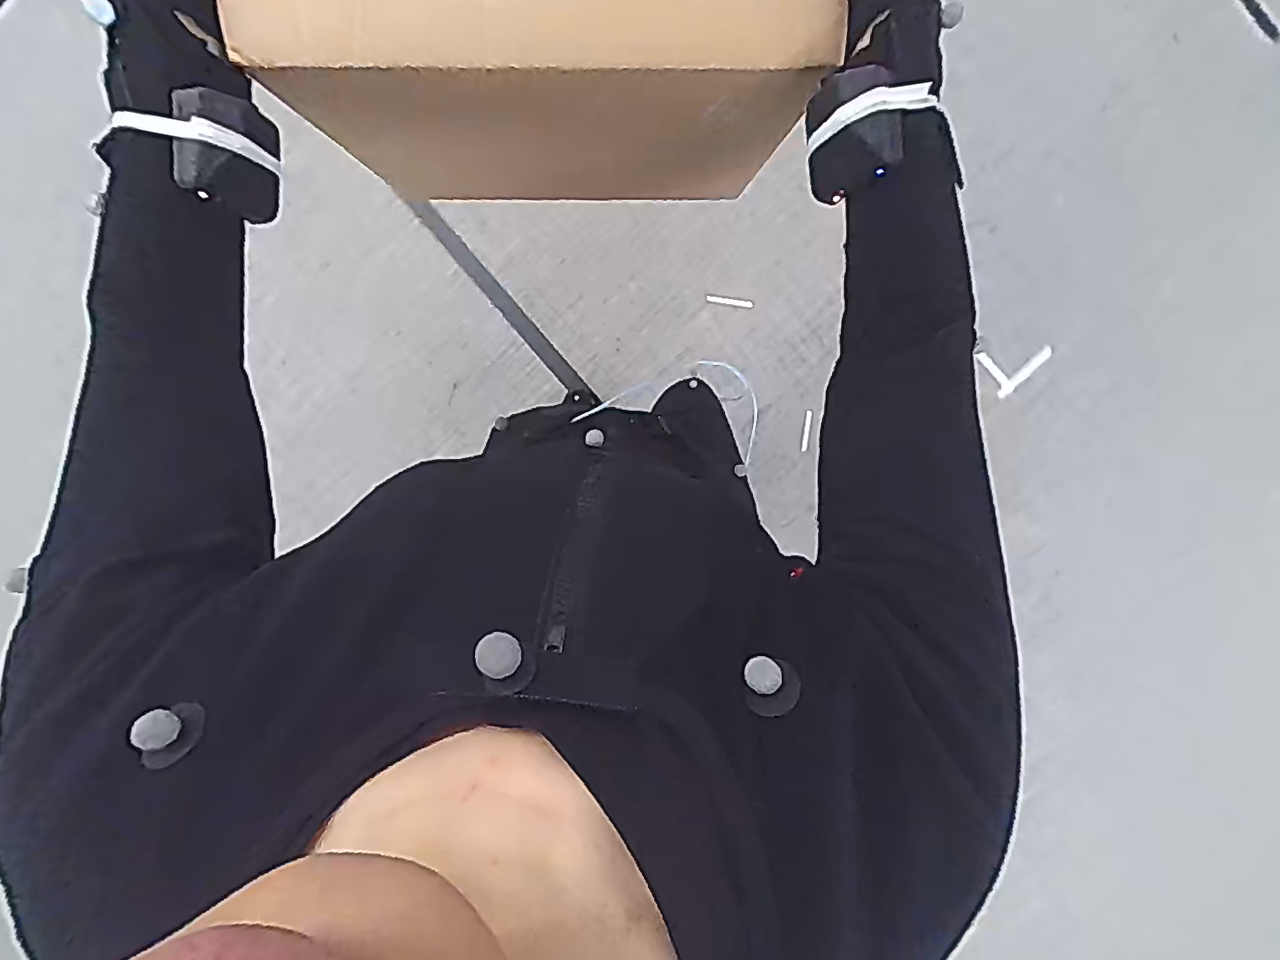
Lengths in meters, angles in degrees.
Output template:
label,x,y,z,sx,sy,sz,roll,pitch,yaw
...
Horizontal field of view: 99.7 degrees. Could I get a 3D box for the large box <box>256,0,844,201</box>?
label,x,y,z,sx,sy,sz,roll,pitch,yaw
large box,-0.067,-0.462,0.488,0.408,0.320,0.320,-1,103,-4
